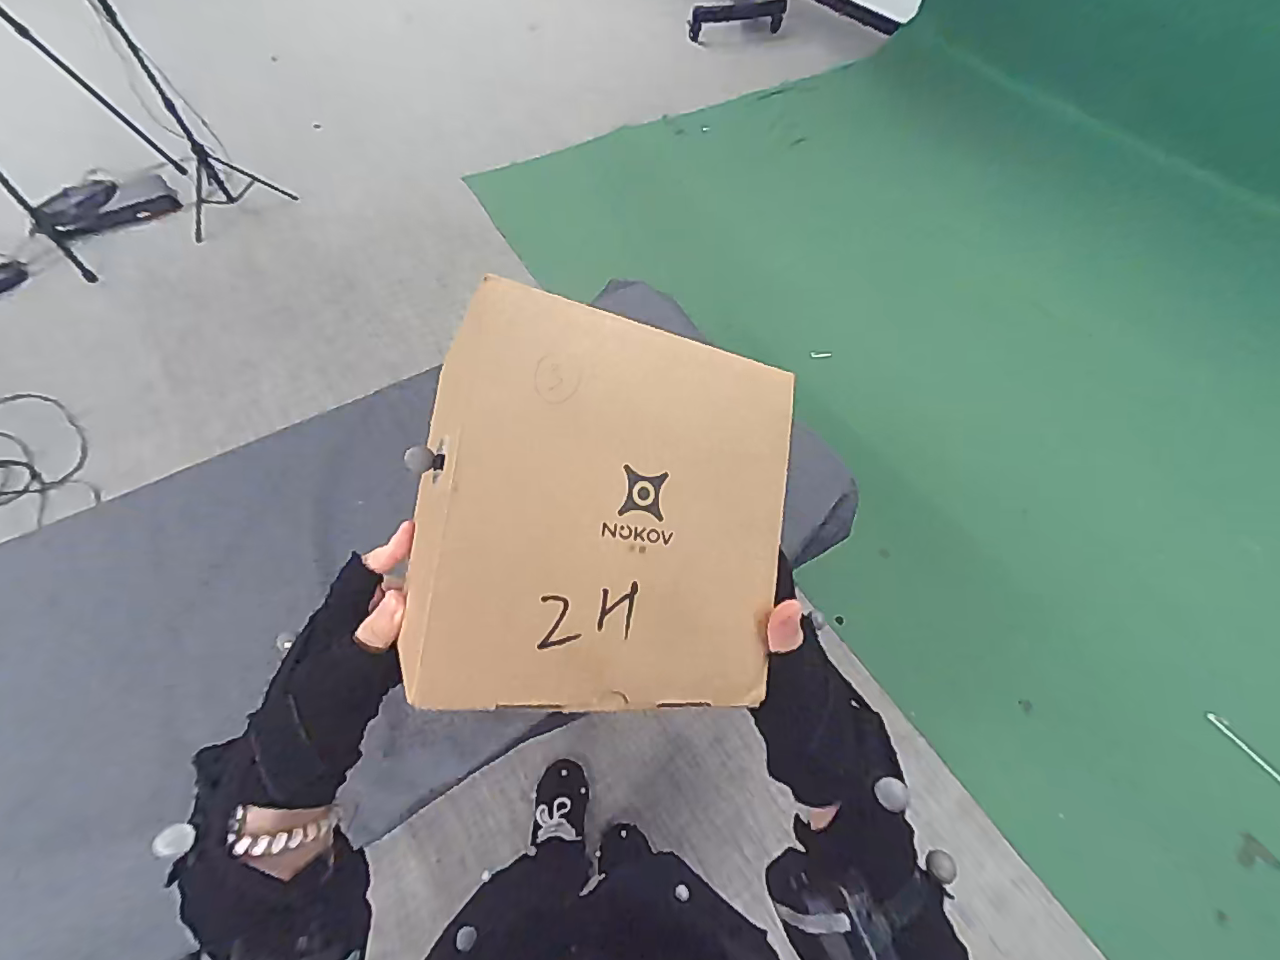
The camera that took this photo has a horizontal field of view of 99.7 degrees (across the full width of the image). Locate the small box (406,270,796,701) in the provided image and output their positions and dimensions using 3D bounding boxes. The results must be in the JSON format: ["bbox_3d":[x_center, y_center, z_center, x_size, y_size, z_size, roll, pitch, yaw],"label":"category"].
[{"bbox_3d":[-0.034,0.016,0.319,0.168,0.176,0.179,12,81,-25],"label":"small box"}]
